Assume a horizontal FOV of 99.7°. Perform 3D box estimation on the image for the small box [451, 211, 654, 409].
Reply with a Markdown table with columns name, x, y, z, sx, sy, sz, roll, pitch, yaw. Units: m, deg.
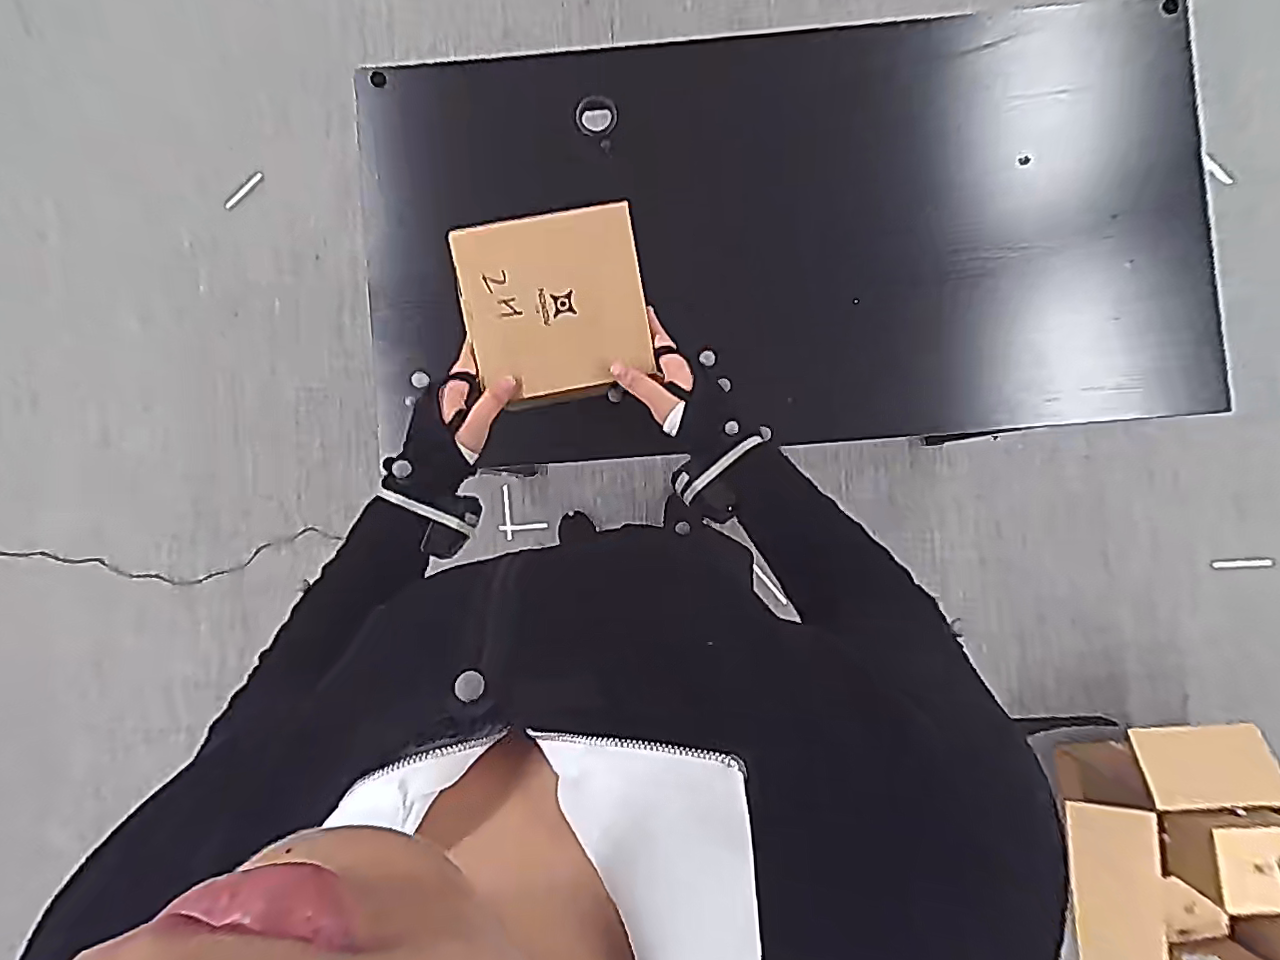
| name | x | y | z | sx | sy | sz | roll | pitch | yaw |
| --- | --- | --- | --- | --- | --- | --- | --- | --- | --- |
| small box | -0.088 | -0.175 | 0.608 | 0.179 | 0.176 | 0.168 | -11 | 95 | 0 |
